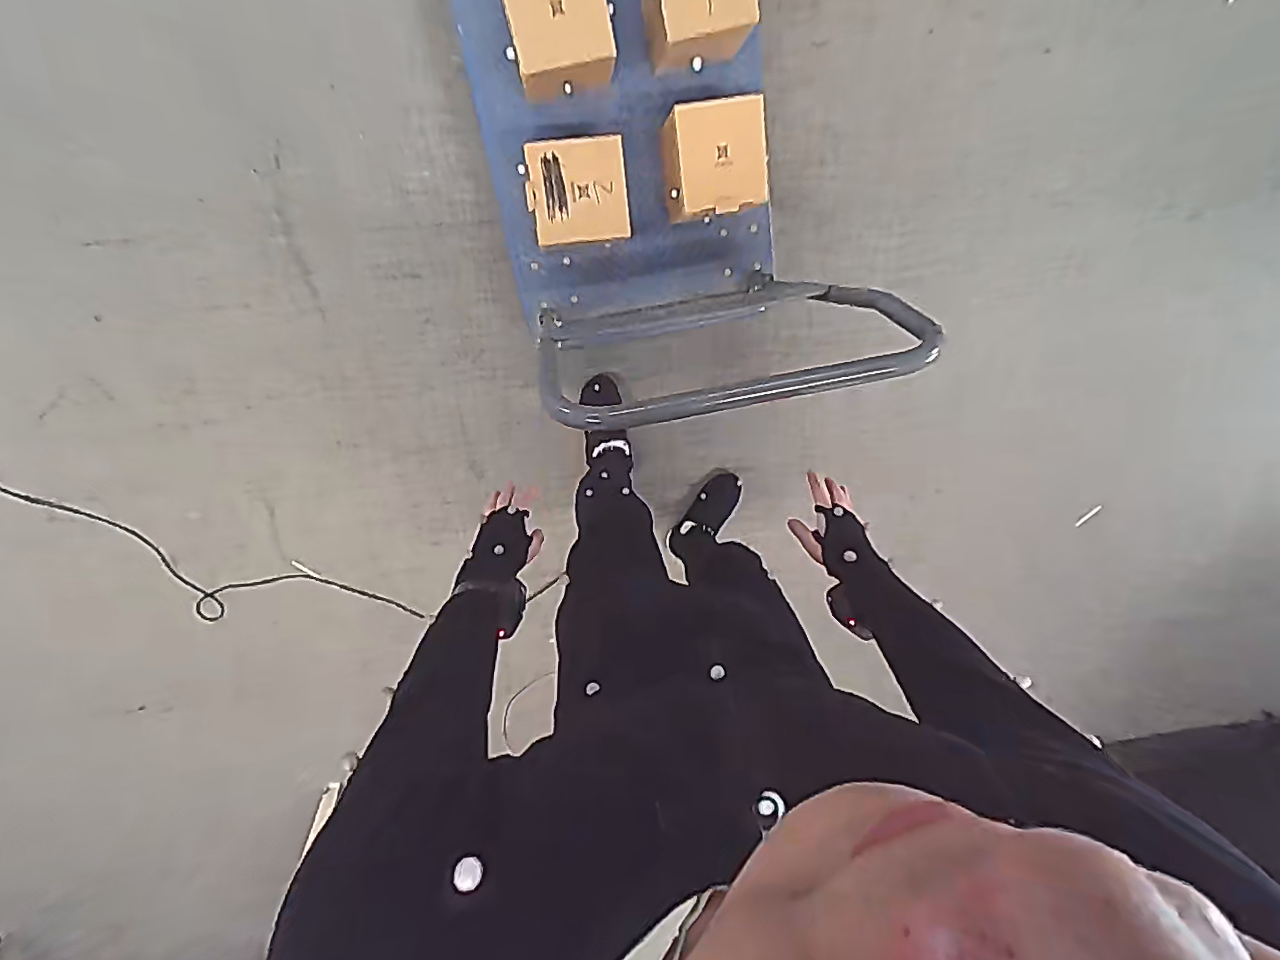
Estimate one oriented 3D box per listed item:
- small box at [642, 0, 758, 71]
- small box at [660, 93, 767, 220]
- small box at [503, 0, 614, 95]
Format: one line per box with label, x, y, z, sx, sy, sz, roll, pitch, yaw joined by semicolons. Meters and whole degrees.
small box;0.097;-0.873;0.962;0.168;0.176;0.179;-14;112;-2
small box;0.139;-0.624;1.061;0.168;0.176;0.179;-10;112;-4
small box;-0.148;-0.809;0.953;0.168;0.176;0.179;-14;111;-3
